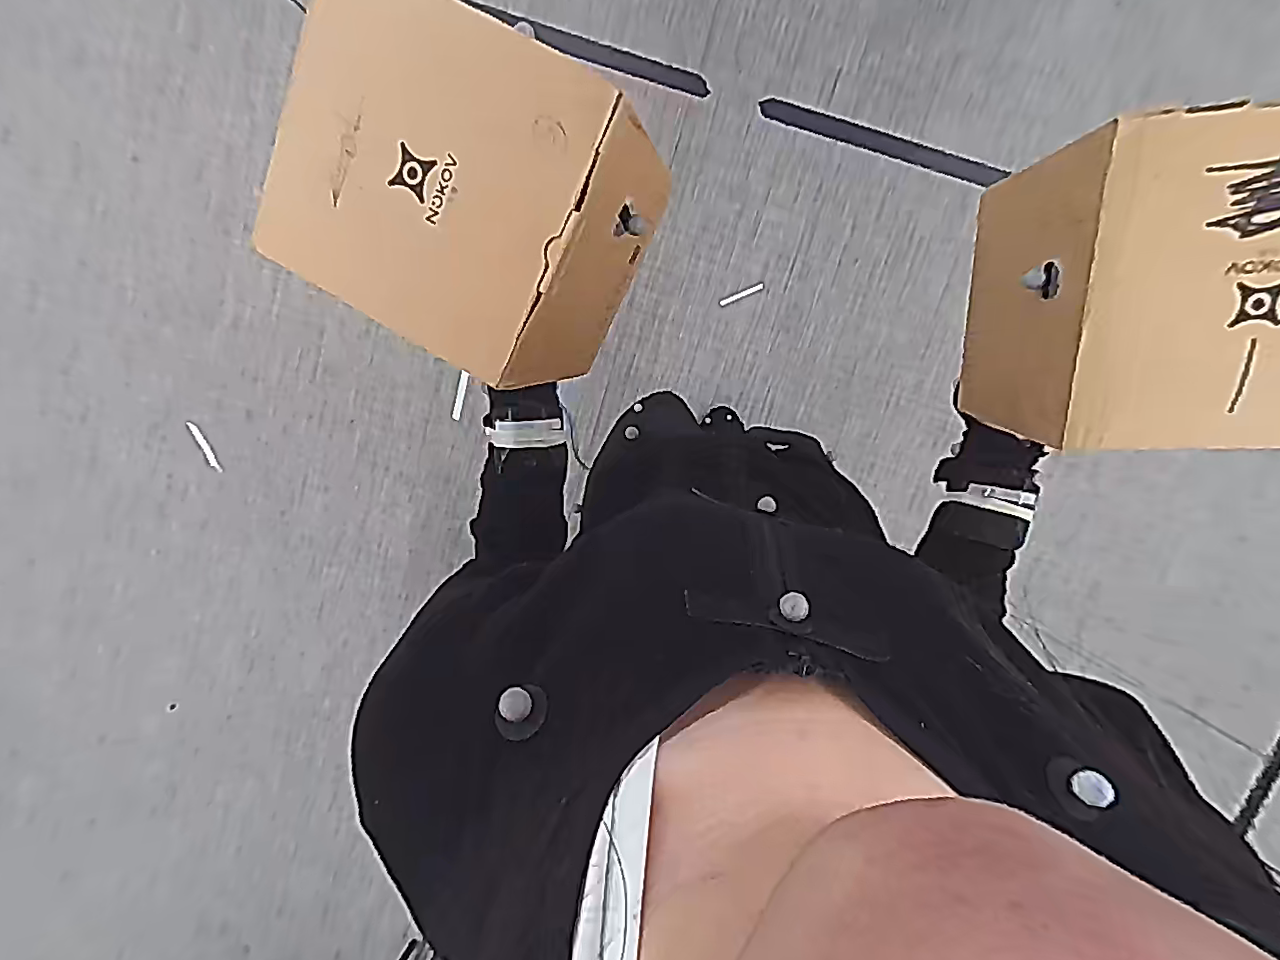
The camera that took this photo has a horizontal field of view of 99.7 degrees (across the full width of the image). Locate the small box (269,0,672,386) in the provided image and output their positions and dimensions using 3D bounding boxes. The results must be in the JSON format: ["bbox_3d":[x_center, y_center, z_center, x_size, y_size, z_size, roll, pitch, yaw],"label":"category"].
[{"bbox_3d":[-0.095,-0.182,0.369,0.179,0.176,0.168,30,107,5],"label":"small box"}]

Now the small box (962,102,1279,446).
[{"bbox_3d":[0.341,-0.125,0.363,0.168,0.176,0.179,1,106,11],"label":"small box"}]
